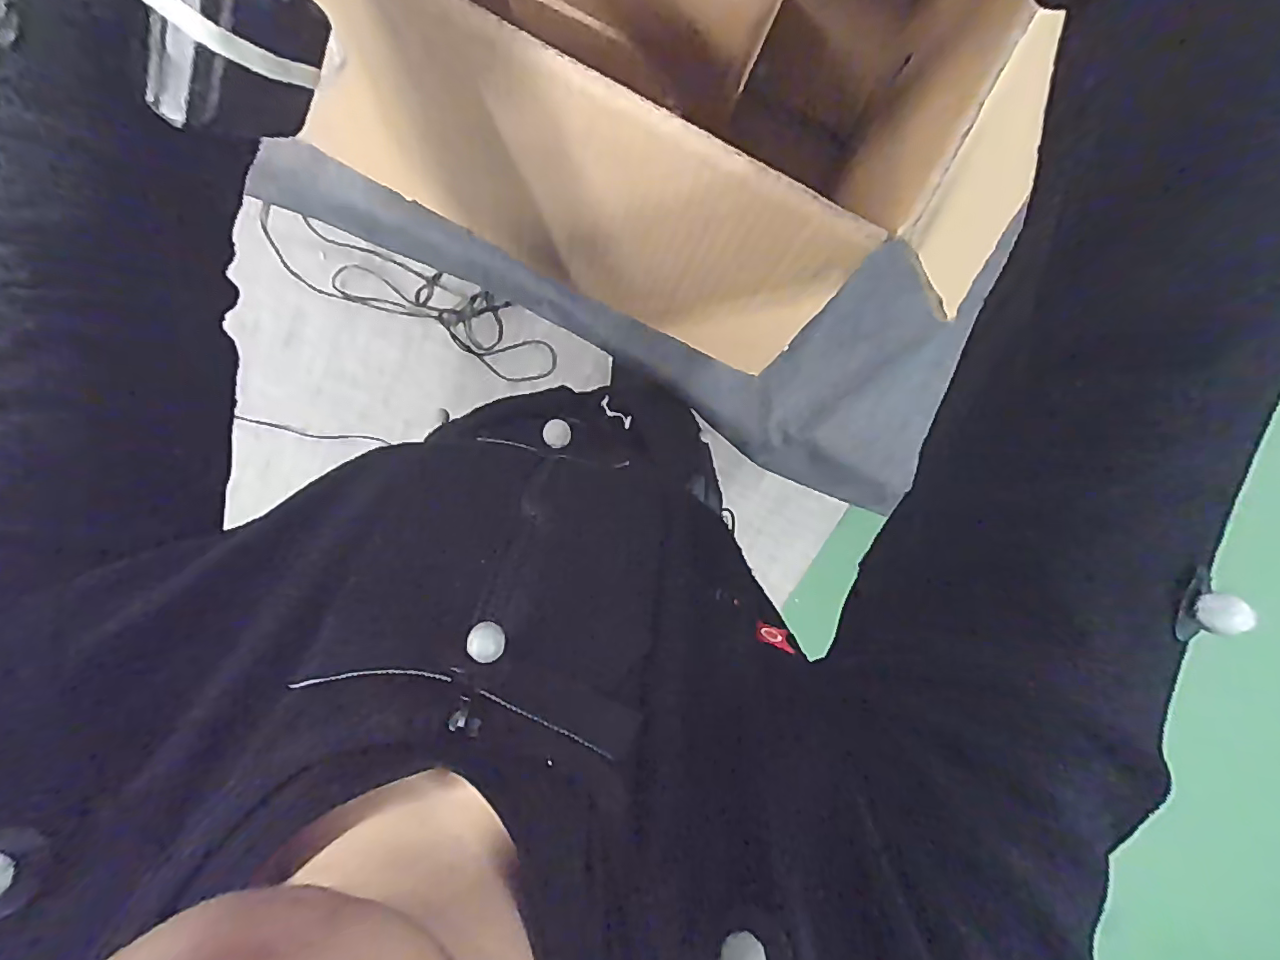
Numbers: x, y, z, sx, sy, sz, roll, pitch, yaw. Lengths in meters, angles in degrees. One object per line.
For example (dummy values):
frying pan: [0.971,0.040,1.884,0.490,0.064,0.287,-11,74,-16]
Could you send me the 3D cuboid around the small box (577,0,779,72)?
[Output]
small box: [0.024,-0.349,0.265,0.179,0.176,0.168,26,104,-6]
